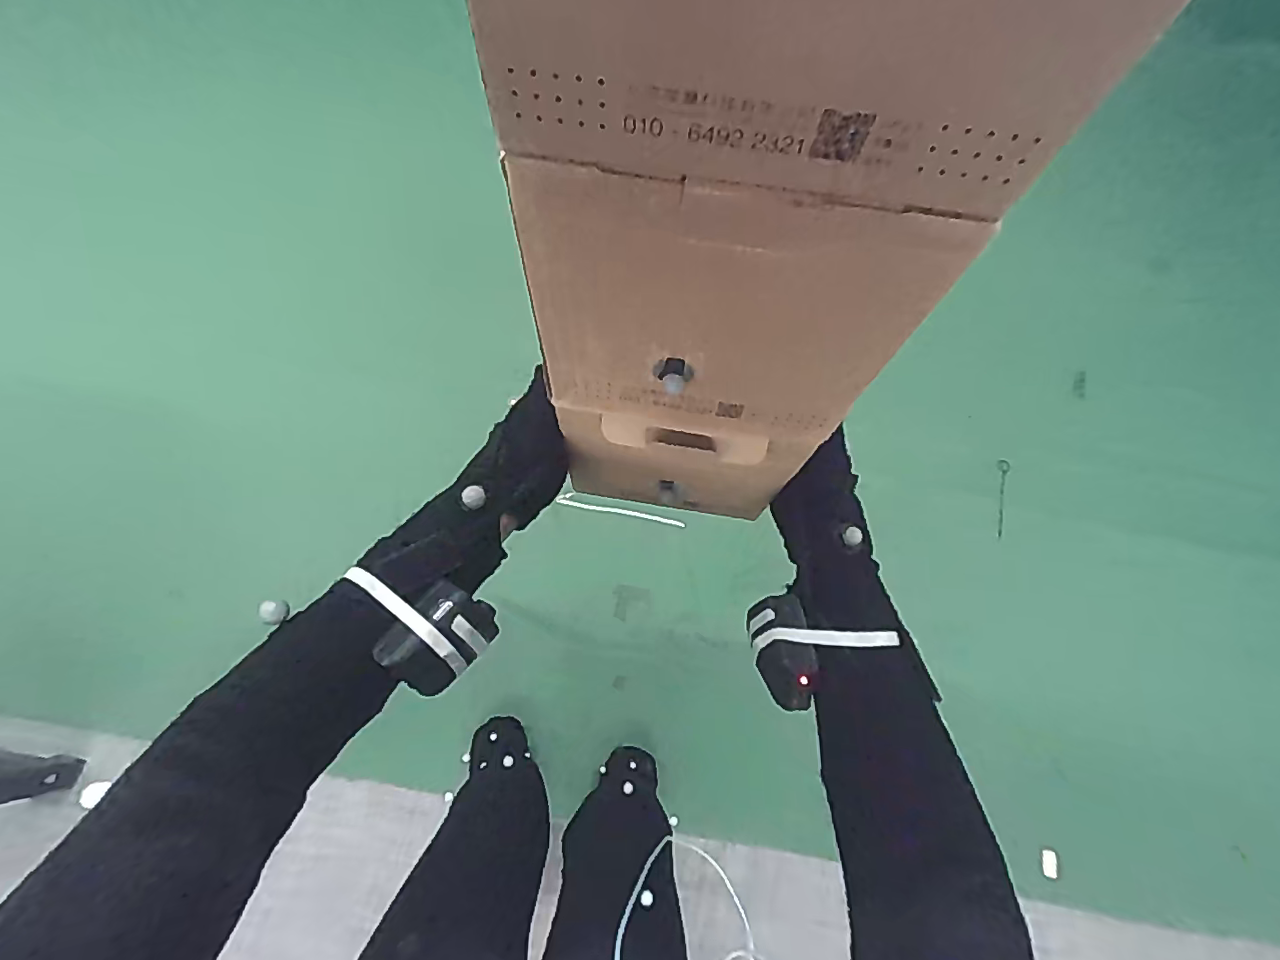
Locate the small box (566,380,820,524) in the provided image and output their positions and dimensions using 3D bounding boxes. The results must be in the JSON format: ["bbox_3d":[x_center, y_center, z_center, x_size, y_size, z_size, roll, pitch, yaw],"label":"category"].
[{"bbox_3d":[0.041,-0.080,0.442,0.168,0.176,0.179,11,69,1],"label":"small box"}]

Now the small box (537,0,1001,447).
[{"bbox_3d":[0.050,-0.139,0.290,0.168,0.176,0.179,8,69,-1],"label":"small box"}]
